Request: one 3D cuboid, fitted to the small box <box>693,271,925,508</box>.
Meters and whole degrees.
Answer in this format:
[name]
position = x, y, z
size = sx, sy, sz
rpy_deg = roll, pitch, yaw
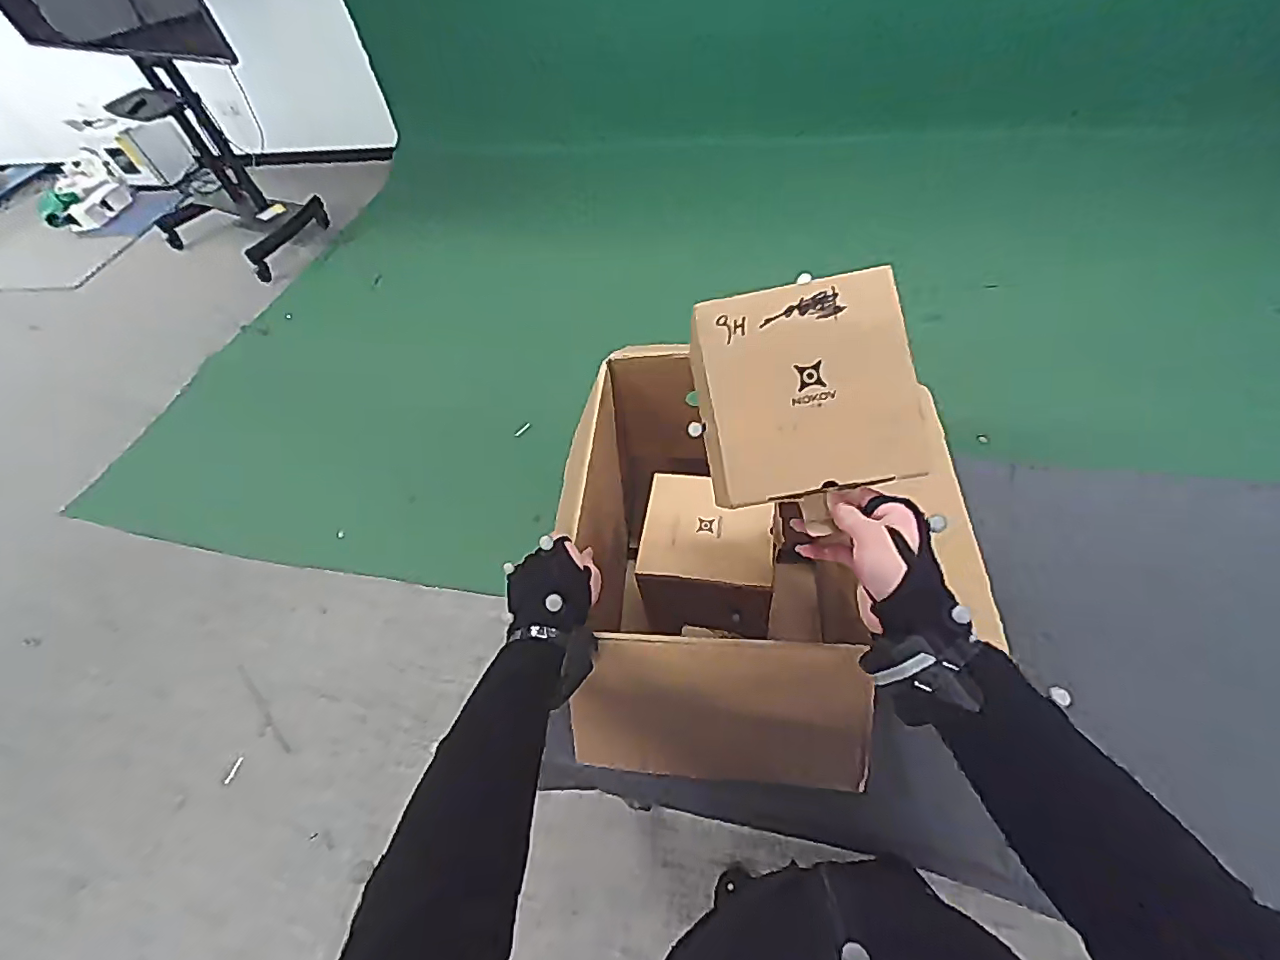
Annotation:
[small box]
position = 0.148, -0.074, 0.531
size = 0.168, 0.176, 0.179
rpy_deg = -11, 87, 5
